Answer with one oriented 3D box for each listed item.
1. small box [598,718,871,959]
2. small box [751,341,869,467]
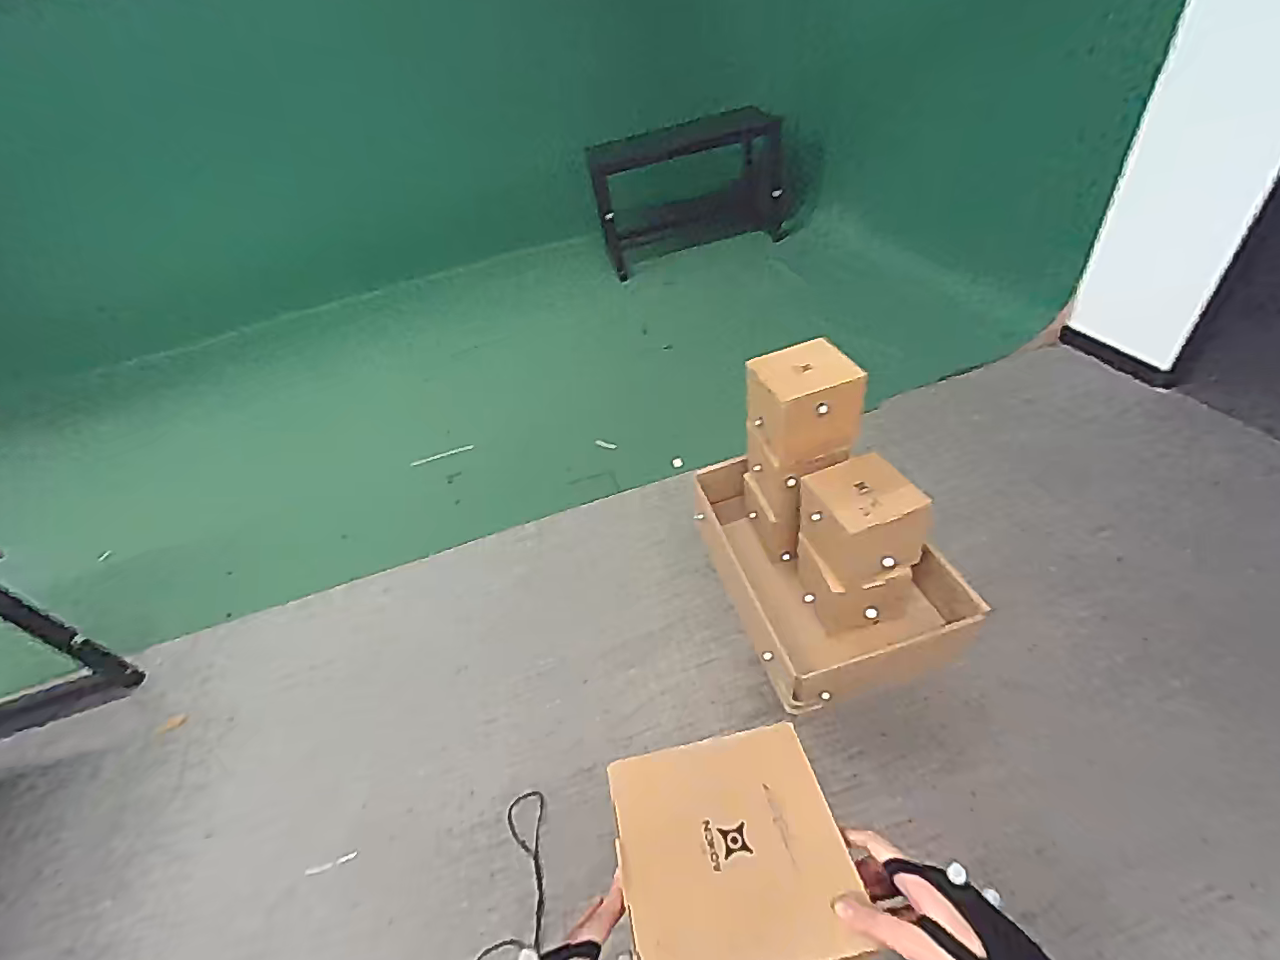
[{"bbox_3d":[0.070,0.344,0.468,0.179,0.176,0.168,-11,36,-6],"label":"small box"},{"bbox_3d":[0.344,-0.156,1.120,0.179,0.176,0.168,-19,42,-5],"label":"small box"}]
